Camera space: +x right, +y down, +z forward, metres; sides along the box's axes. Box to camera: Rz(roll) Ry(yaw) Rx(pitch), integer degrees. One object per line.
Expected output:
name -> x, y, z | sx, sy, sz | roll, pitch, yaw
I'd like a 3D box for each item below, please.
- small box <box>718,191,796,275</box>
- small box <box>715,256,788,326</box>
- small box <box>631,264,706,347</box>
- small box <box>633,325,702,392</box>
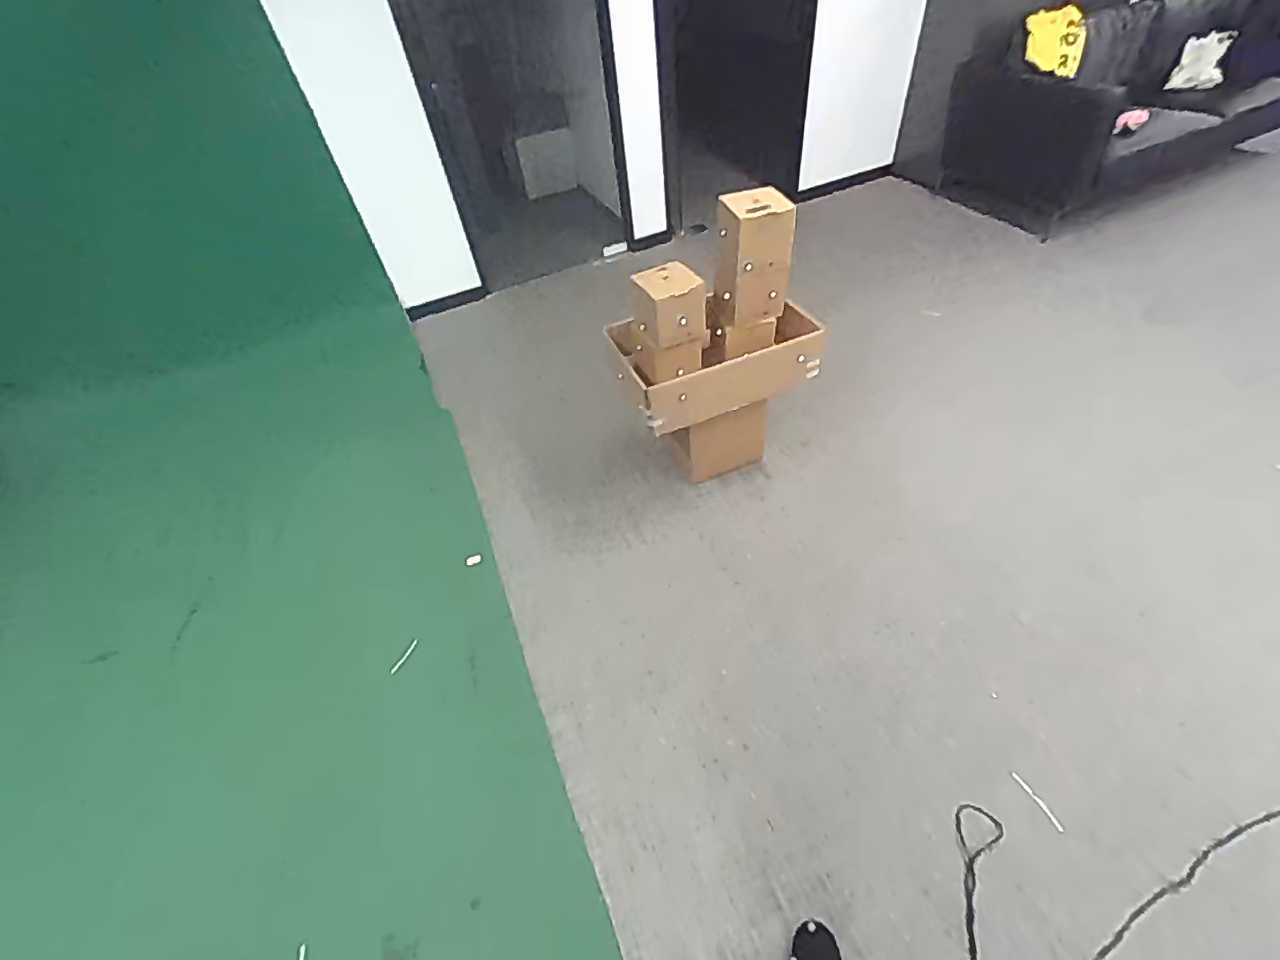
small box -> 0.332, -0.707, 1.563 | 0.168, 0.176, 0.179 | -13, 46, -6
small box -> 0.340, -0.597, 1.683 | 0.168, 0.176, 0.179 | -15, 47, -8
small box -> 0.088, -0.520, 1.638 | 0.168, 0.176, 0.179 | -22, 49, -14
small box -> 0.089, -0.415, 1.765 | 0.168, 0.176, 0.179 | -23, 49, -13
